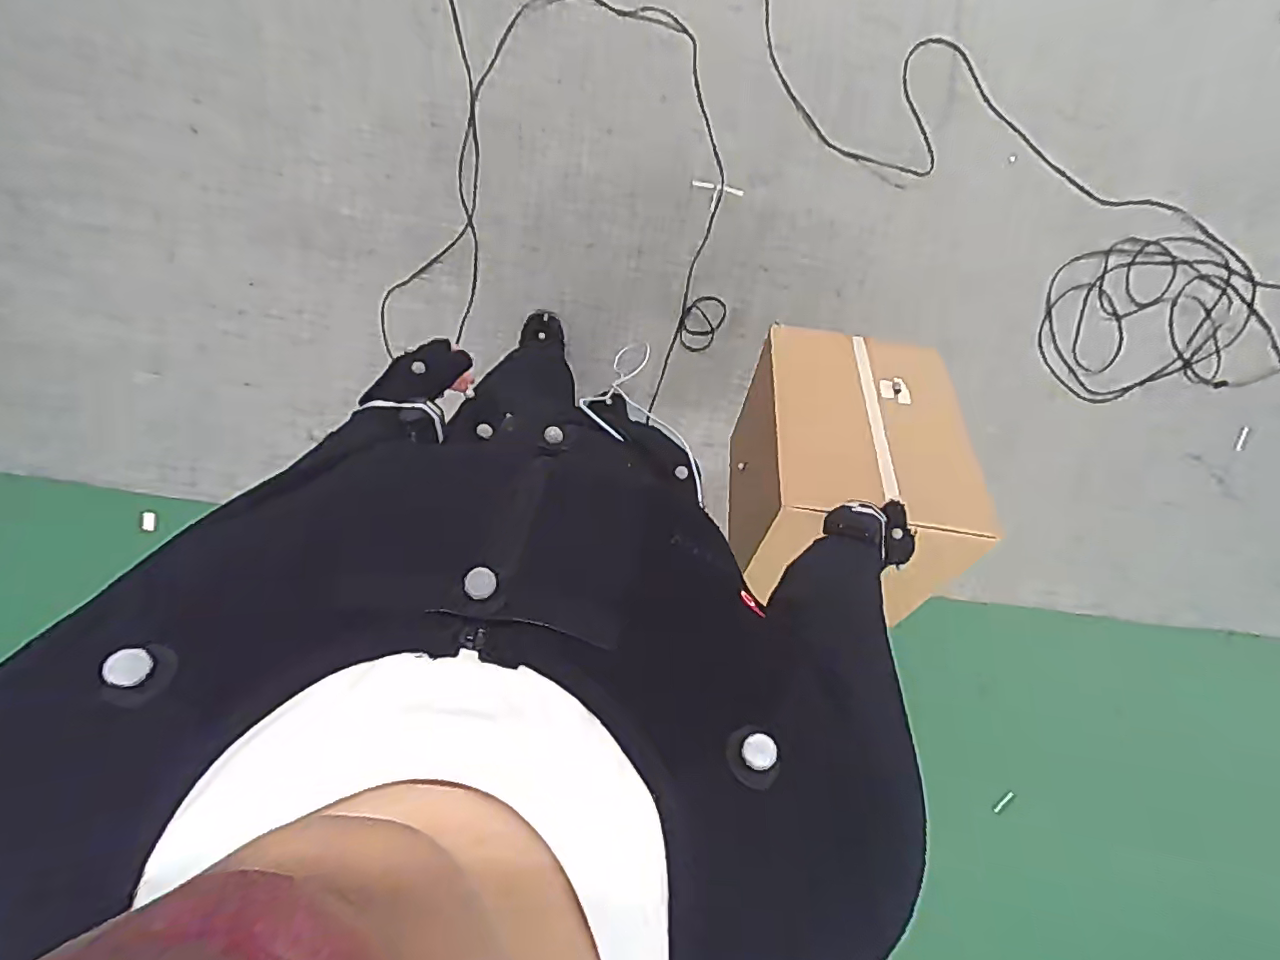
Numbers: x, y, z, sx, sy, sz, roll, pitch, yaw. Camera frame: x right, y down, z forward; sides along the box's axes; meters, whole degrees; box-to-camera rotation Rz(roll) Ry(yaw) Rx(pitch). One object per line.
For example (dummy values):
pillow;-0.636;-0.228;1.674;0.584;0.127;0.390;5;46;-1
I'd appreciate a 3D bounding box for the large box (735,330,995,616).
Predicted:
large box;0.356;-0.009;0.991;0.320;0.408;0.320;9;143;-1
